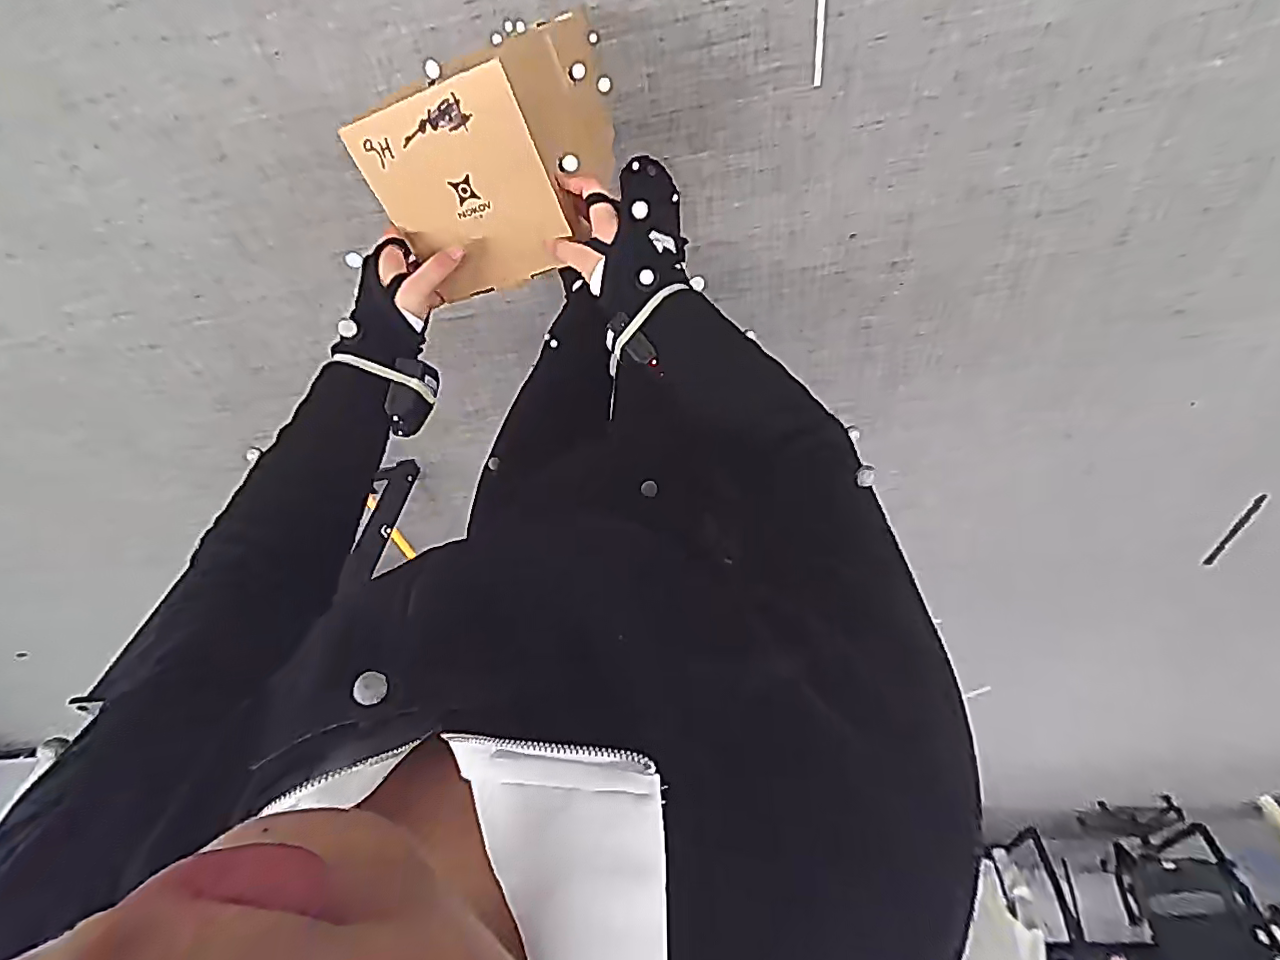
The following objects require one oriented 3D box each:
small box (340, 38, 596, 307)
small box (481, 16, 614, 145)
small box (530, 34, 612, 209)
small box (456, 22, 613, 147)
[{"bbox_3d":[-0.156,-0.316,0.563,0.168,0.176,0.179,-10,134,15],"label":"small box"},{"bbox_3d":[-0.150,-0.673,0.940,0.168,0.176,0.179,-11,134,13],"label":"small box"},{"bbox_3d":[-0.143,-0.445,0.702,0.168,0.176,0.179,-12,133,14],"label":"small box"},{"bbox_3d":[-0.149,-0.562,0.819,0.179,0.176,0.168,-10,133,11],"label":"small box"}]
